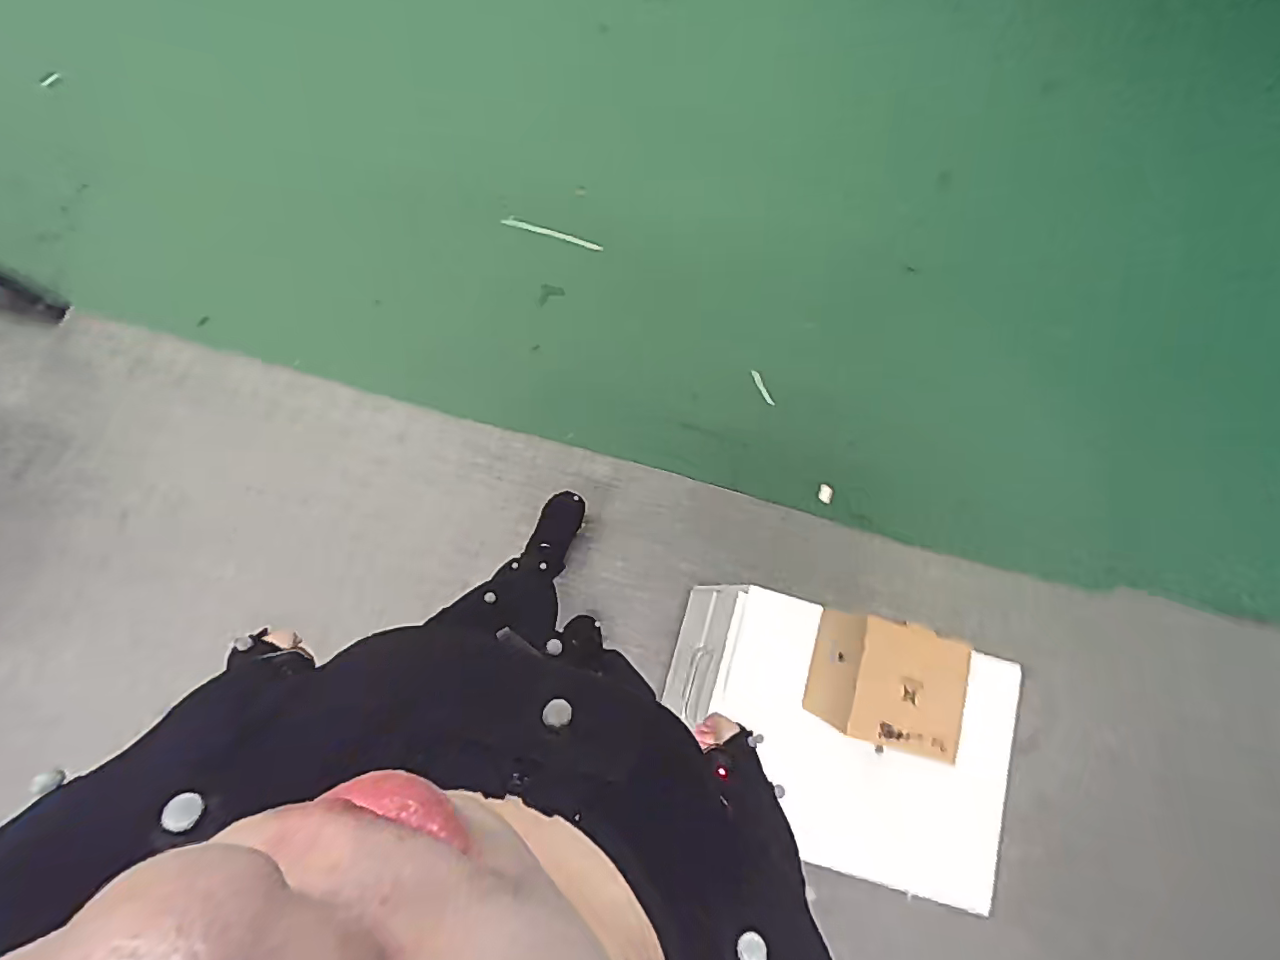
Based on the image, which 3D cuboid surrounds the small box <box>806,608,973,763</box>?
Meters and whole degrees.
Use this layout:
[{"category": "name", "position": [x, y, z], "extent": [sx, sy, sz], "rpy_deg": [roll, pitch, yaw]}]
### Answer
[{"category": "small box", "position": [0.381, 0.308, 0.852], "extent": [0.168, 0.176, 0.179], "rpy_deg": [17, 79, -1]}]
